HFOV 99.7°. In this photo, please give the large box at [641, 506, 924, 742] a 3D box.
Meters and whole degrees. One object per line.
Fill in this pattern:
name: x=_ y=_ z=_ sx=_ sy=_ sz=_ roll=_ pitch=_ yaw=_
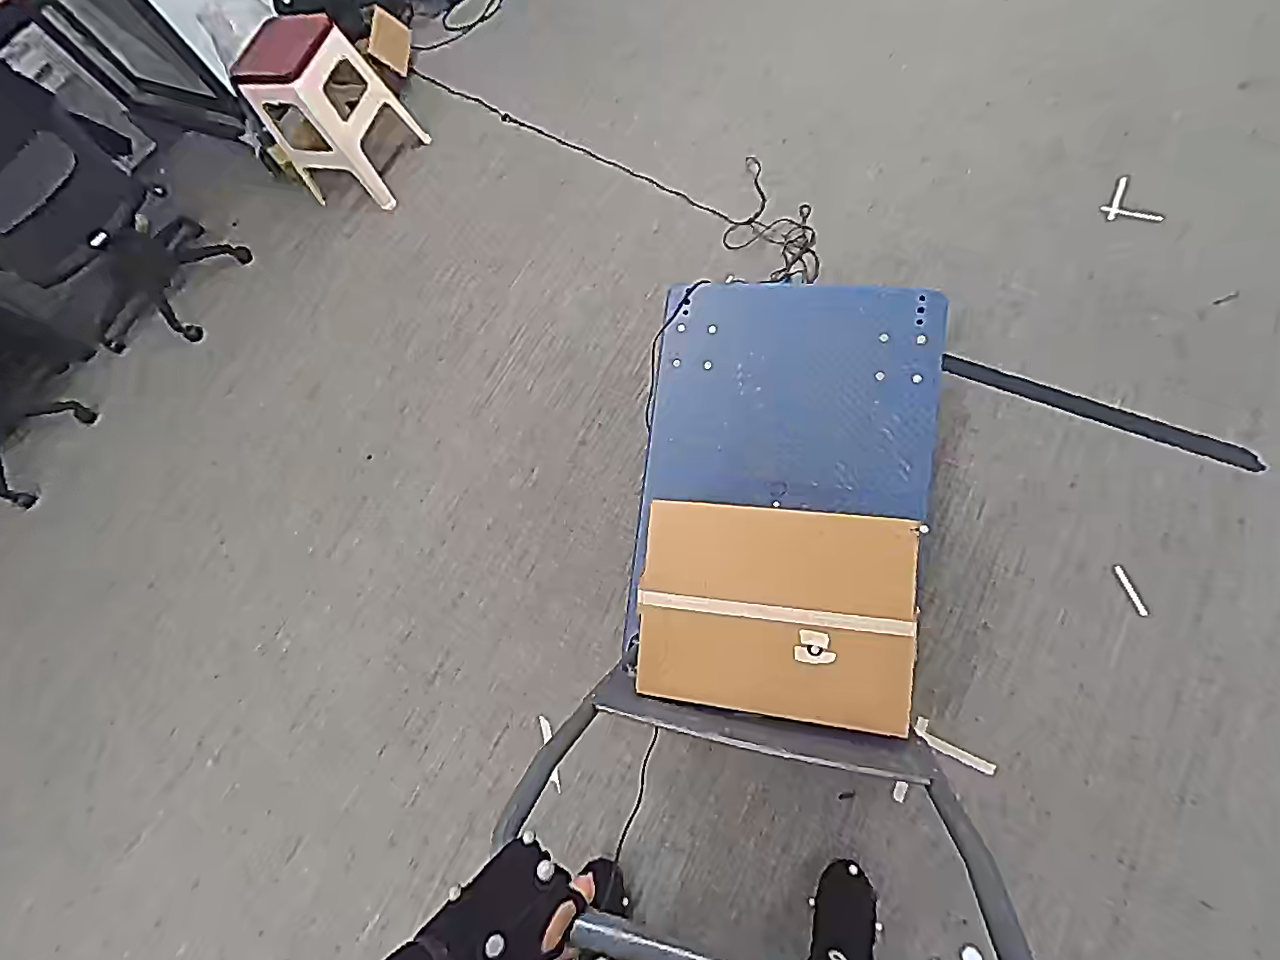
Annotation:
large box: x=0.234 y=0.218 z=0.951 sx=0.408 sy=0.320 sz=0.320 roll=4 pitch=87 yaw=13
